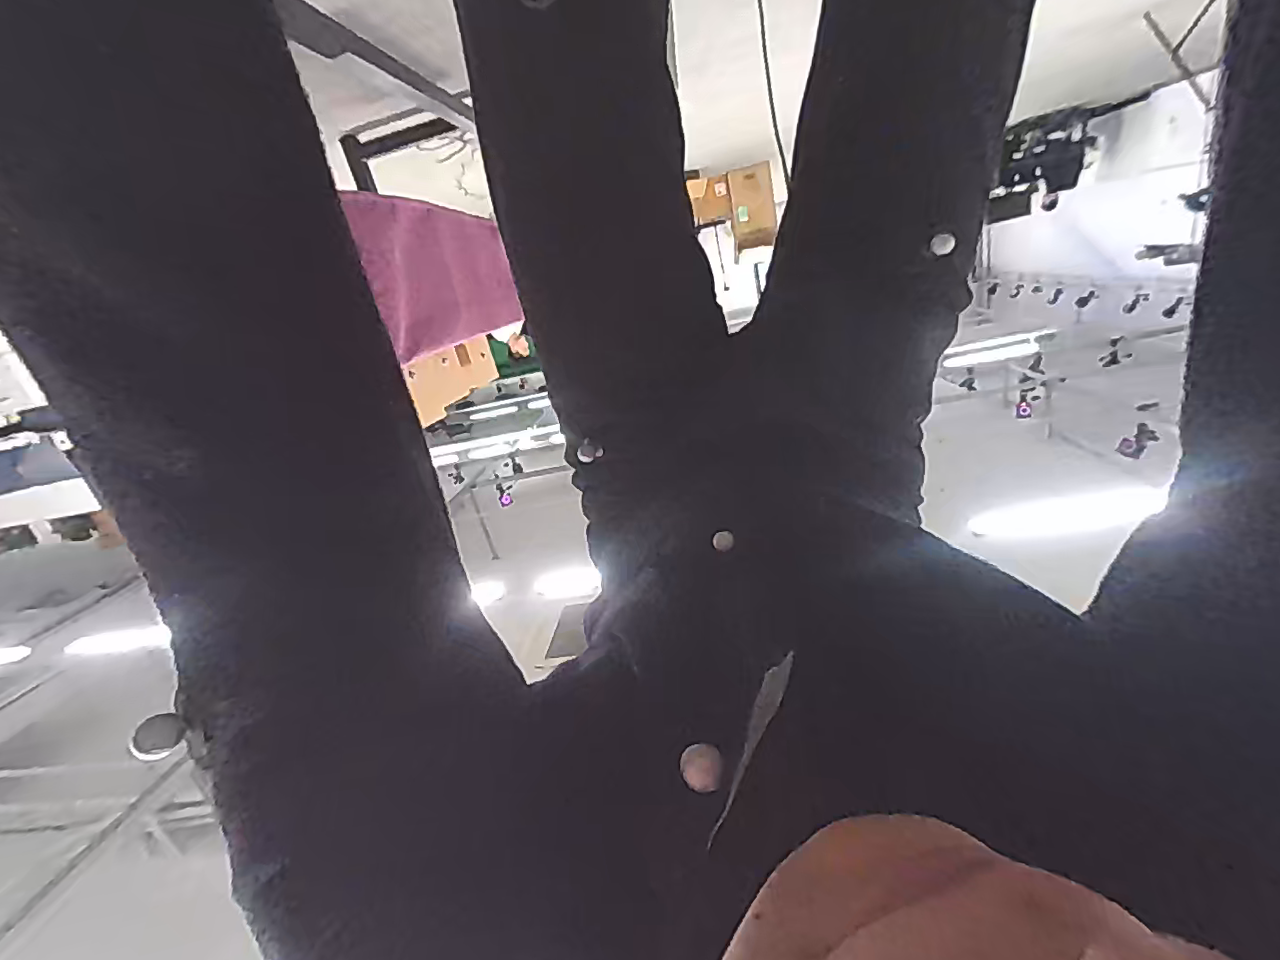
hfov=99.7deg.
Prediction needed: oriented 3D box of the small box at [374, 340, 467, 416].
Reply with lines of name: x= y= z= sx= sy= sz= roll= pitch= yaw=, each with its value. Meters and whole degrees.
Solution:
small box: x=-0.637 y=-0.298 z=1.565 sx=0.179 sy=0.176 sz=0.168 roll=-9 pitch=-159 yaw=15

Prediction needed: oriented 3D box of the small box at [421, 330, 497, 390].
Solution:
small box: x=-0.606 y=-0.392 z=1.786 sx=0.179 sy=0.176 sz=0.168 roll=-9 pitch=-159 yaw=12
